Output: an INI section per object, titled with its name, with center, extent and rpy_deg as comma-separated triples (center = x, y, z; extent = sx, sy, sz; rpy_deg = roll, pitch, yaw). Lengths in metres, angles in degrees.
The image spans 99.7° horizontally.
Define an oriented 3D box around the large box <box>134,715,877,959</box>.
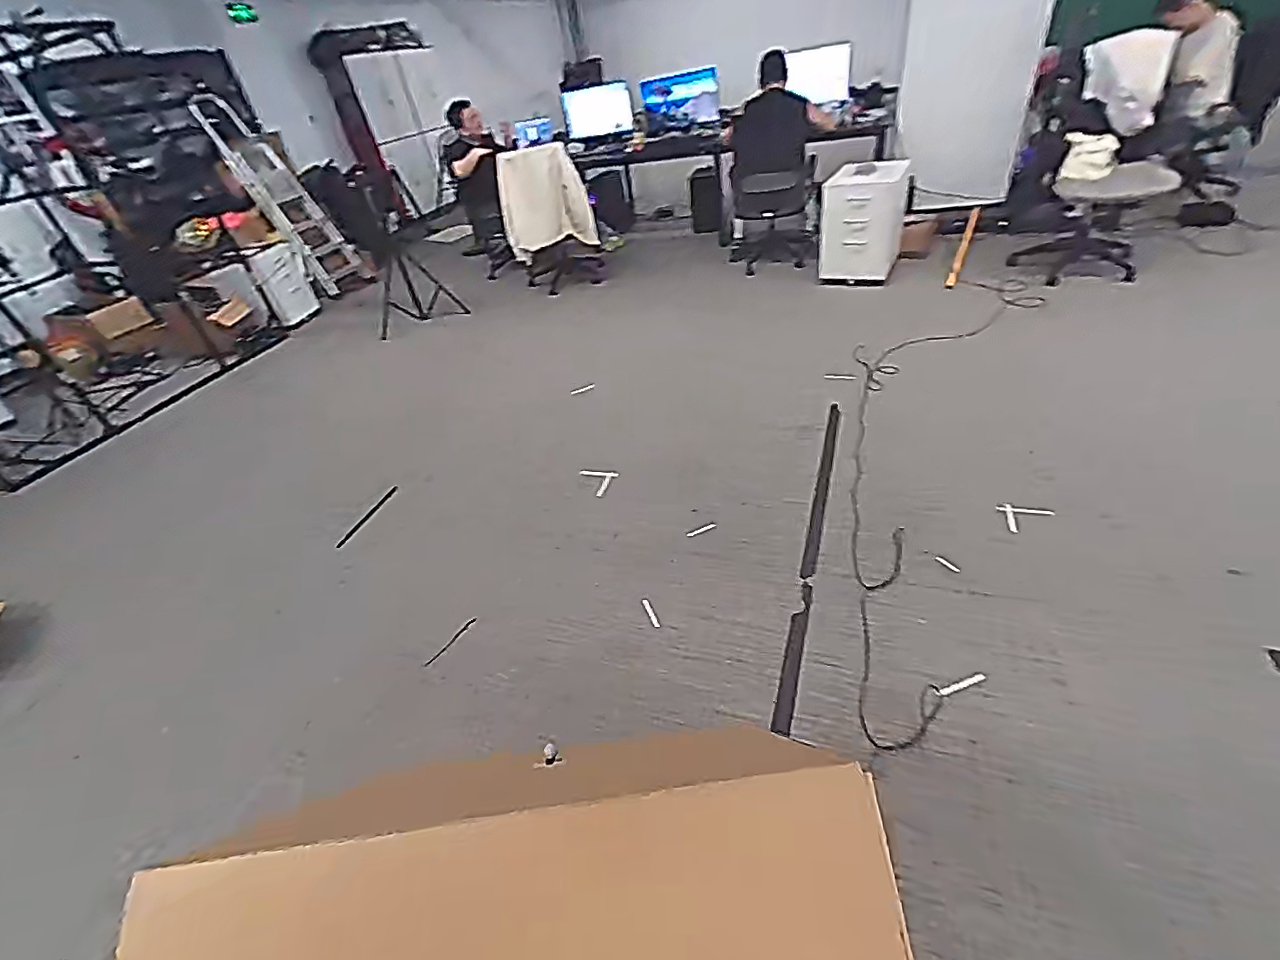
[large box]
center = -0.058, 0.388, 0.408
extent = 0.408, 0.320, 0.320
rpy_deg = -8, 71, -4
